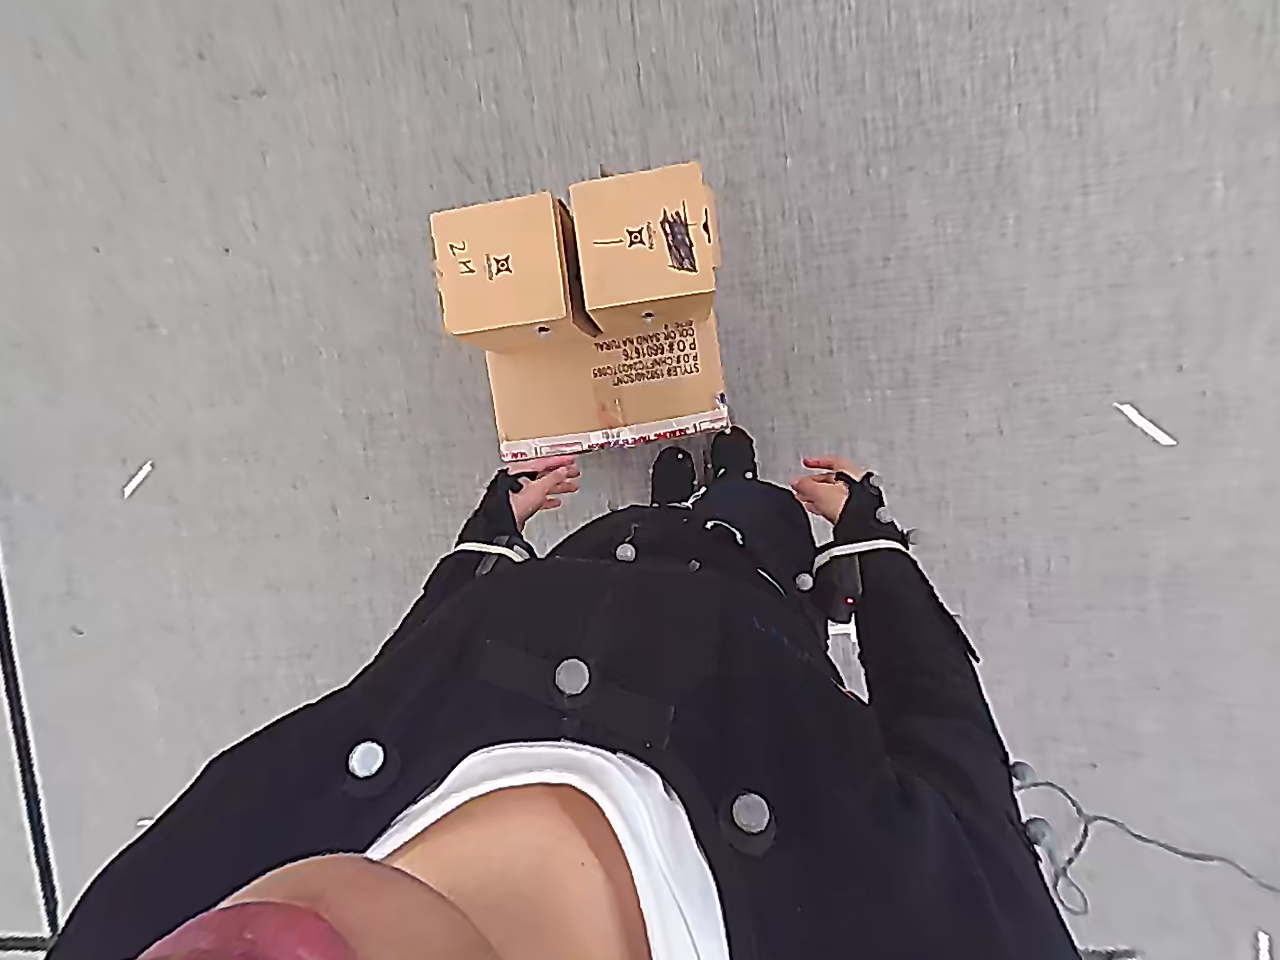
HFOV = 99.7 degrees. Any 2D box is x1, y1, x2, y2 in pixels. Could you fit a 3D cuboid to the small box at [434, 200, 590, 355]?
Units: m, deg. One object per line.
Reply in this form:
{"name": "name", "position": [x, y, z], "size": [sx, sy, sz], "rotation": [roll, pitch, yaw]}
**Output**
{"name": "small box", "position": [-0.178, -0.290, 0.811], "size": [0.179, 0.176, 0.168], "rotation": [-6, 93, 9]}

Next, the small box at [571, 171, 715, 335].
{"name": "small box", "position": [0.009, -0.317, 0.790], "size": [0.179, 0.176, 0.168], "rotation": [-7, 94, 6]}
